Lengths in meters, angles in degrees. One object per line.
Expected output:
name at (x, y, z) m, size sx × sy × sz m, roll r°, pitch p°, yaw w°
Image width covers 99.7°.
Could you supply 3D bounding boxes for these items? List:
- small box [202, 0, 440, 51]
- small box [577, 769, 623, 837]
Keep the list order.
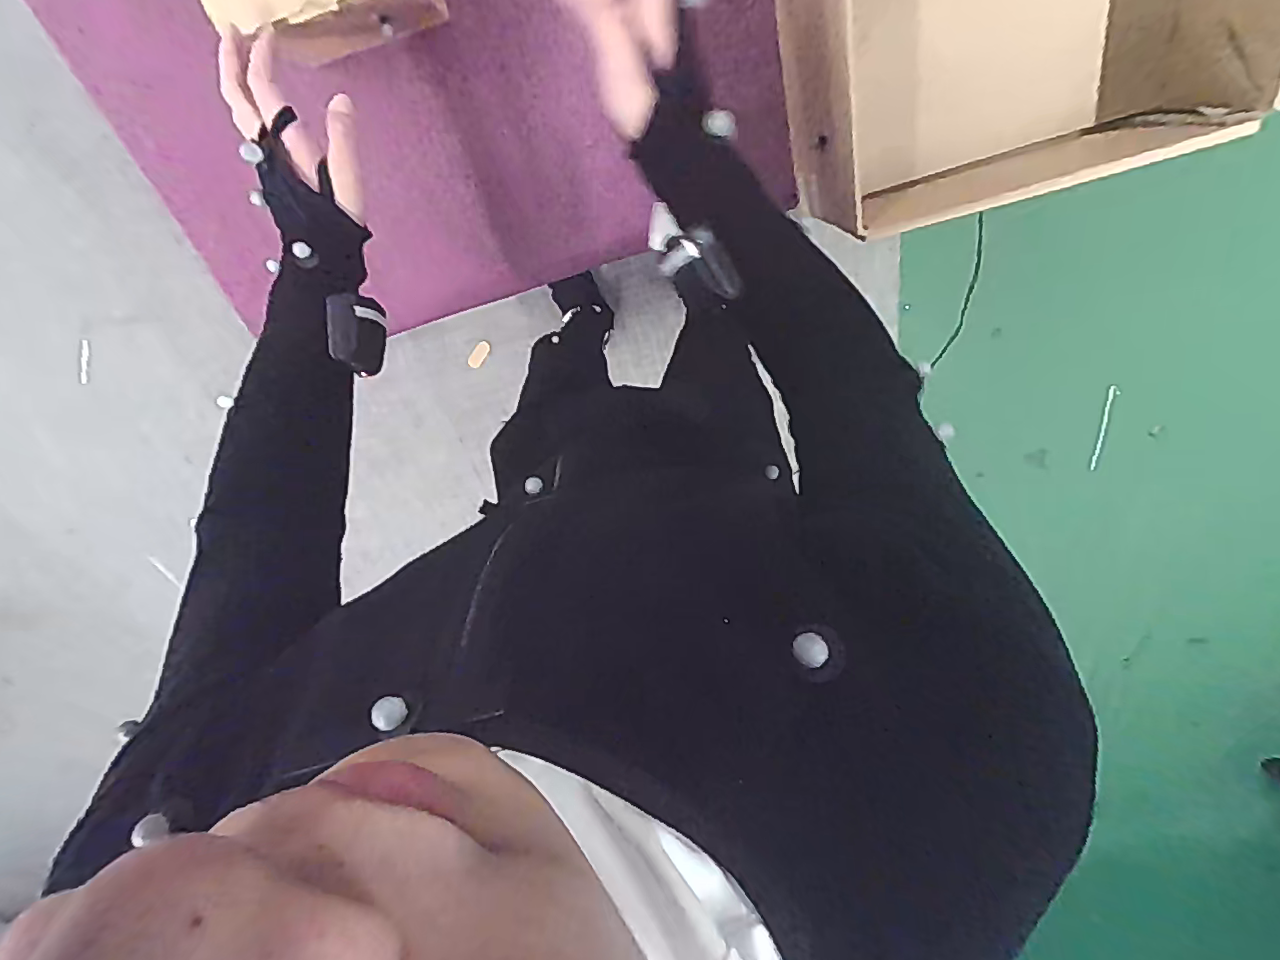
small box at (-0.302, -0.507, 0.476) m, size 0.168 × 0.176 × 0.179 m, roll -14°, pitch 122°, yaw 5°
small box at (-0.156, 1.259, 2.107) m, size 0.168 × 0.176 × 0.179 m, roll 4°, pitch 120°, yaw -6°
